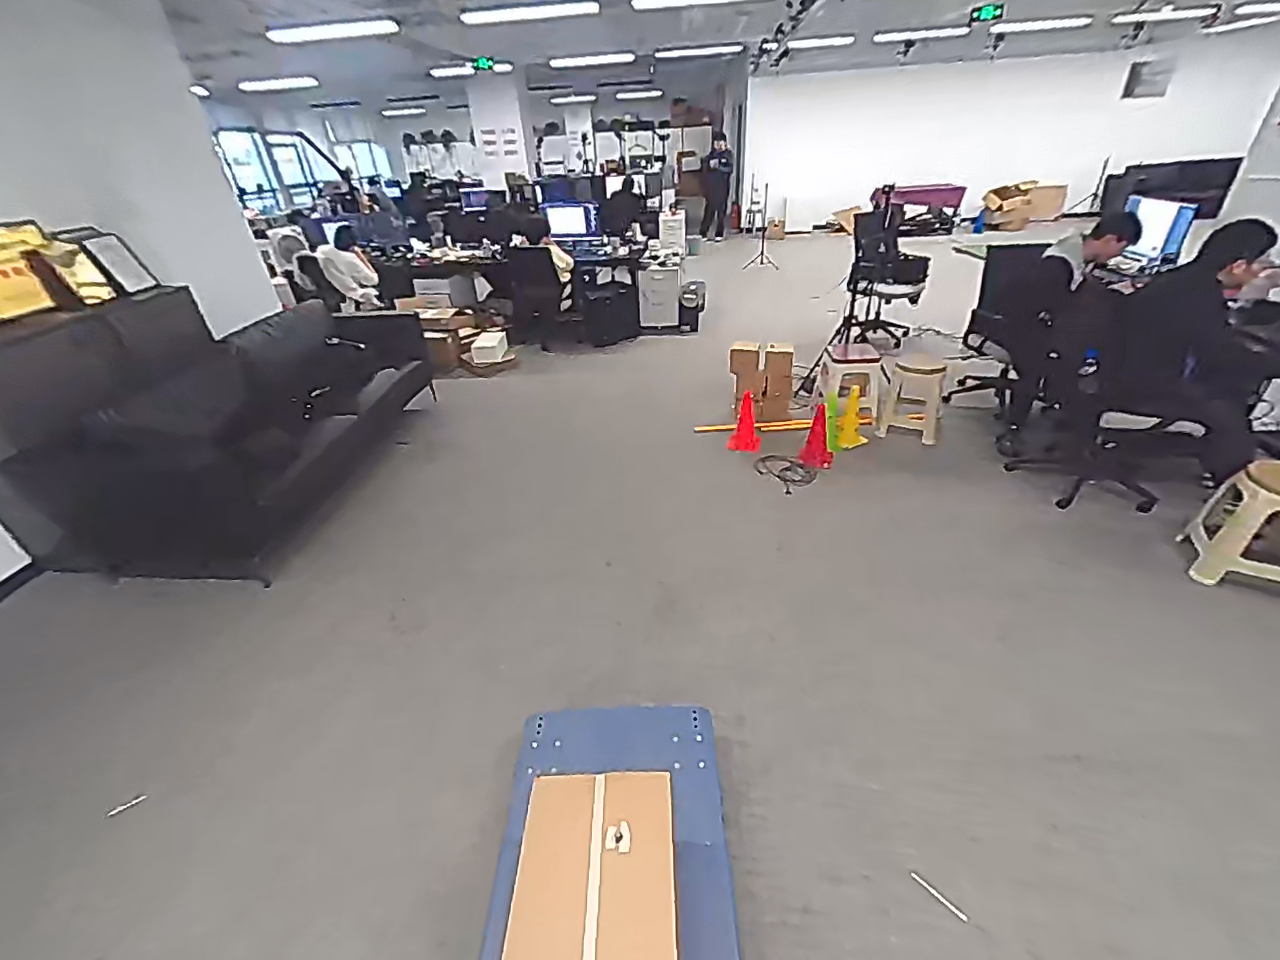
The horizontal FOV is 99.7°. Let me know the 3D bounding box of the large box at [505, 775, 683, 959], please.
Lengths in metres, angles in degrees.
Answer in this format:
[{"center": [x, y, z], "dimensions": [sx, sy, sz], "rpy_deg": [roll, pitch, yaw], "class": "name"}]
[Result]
[{"center": [-0.073, 0.903, 1.123], "dimensions": [0.320, 0.320, 0.408], "rpy_deg": [-3, 31, 2], "class": "large box"}]
